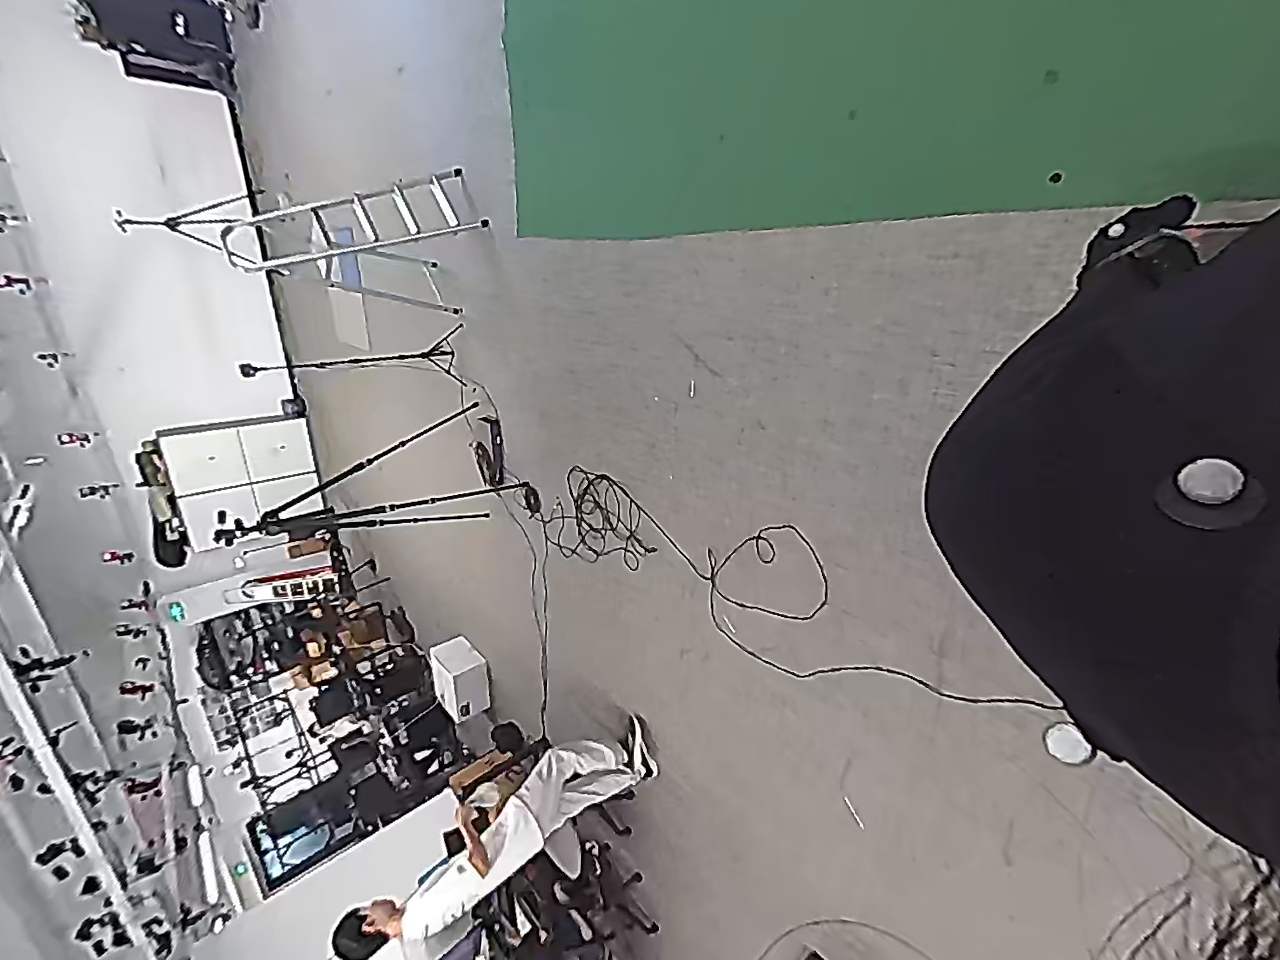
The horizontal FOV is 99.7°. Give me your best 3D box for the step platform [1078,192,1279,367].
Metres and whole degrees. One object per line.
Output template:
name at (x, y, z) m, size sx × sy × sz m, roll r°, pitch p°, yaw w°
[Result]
step platform at (1.121, -0.297, 0.817) m, size 0.684 × 0.204 × 0.286 m, roll 22°, pitch 120°, yaw 45°
